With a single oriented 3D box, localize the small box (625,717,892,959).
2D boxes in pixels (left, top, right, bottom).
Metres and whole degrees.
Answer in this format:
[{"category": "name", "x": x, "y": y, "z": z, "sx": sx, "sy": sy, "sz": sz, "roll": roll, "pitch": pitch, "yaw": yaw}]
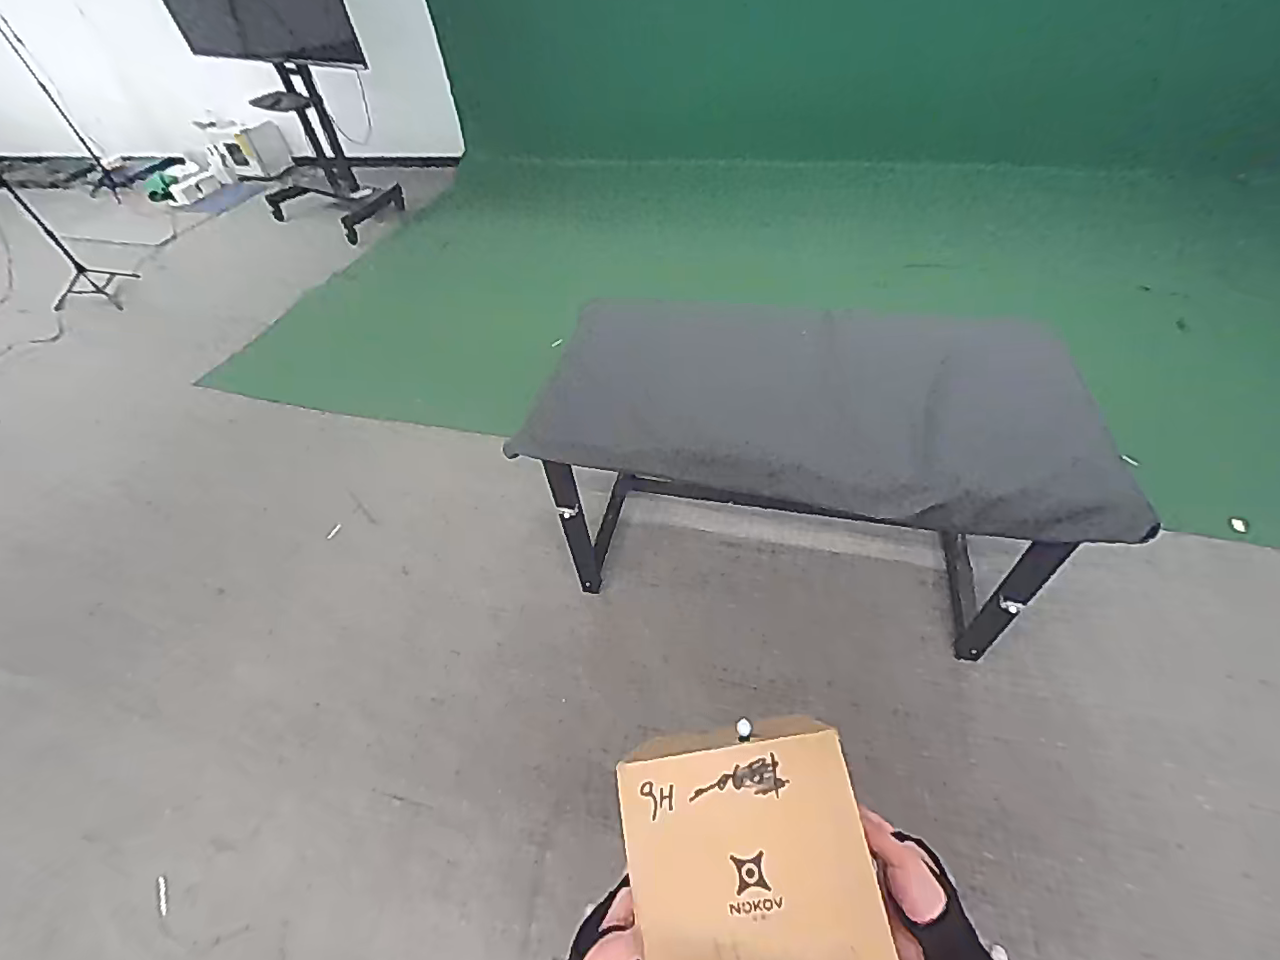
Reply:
[{"category": "small box", "x": 0.090, "y": 0.309, "z": 0.450, "sx": 0.168, "sy": 0.176, "sz": 0.179, "roll": -11, "pitch": 70, "yaw": 4}]
